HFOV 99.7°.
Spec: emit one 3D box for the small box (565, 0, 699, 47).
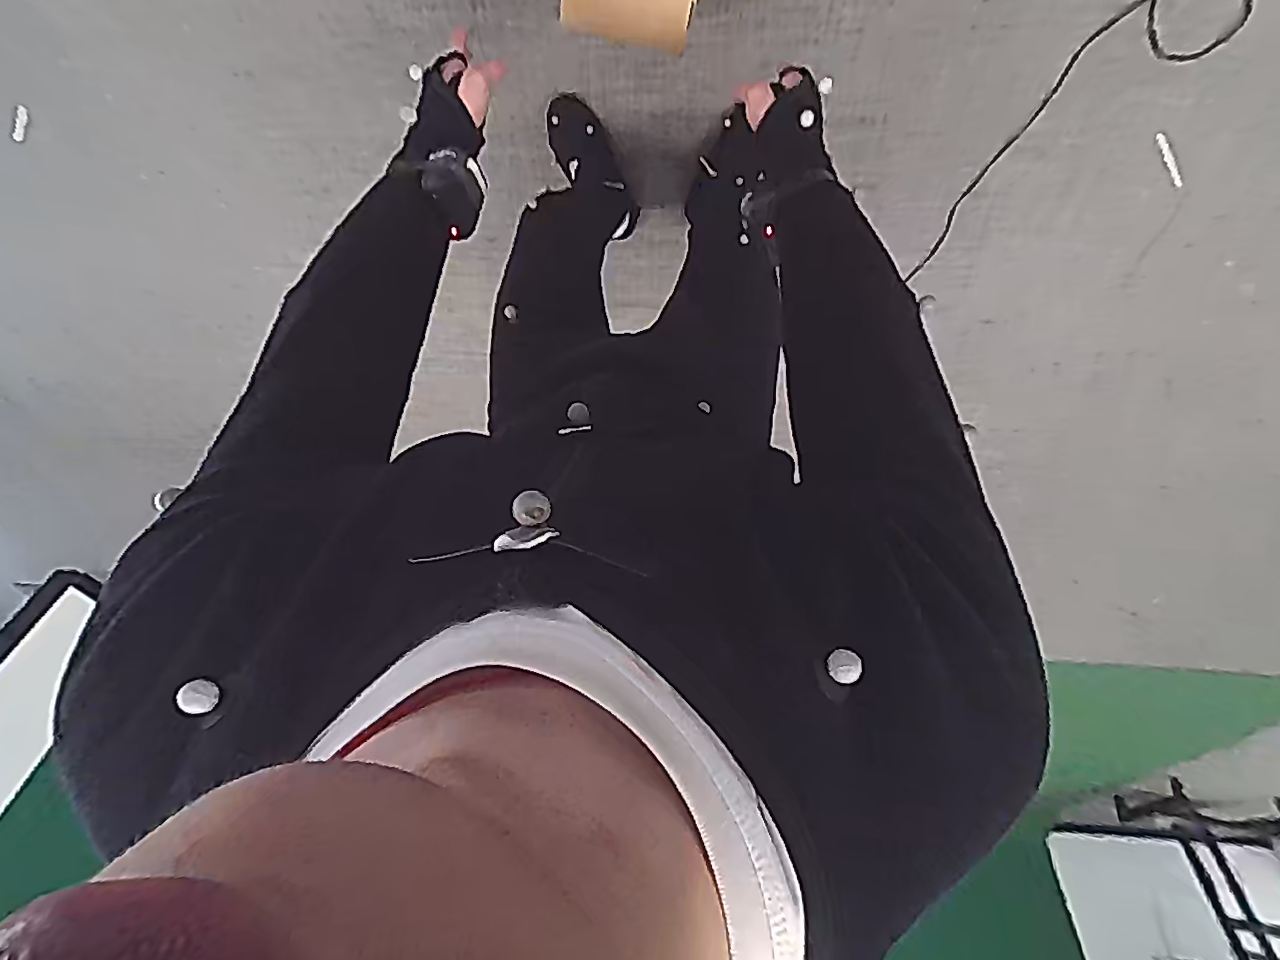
[{"bbox_3d":[0.007,-0.727,0.735,0.179,0.176,0.168,13,137,-3],"label":"small box"}]
